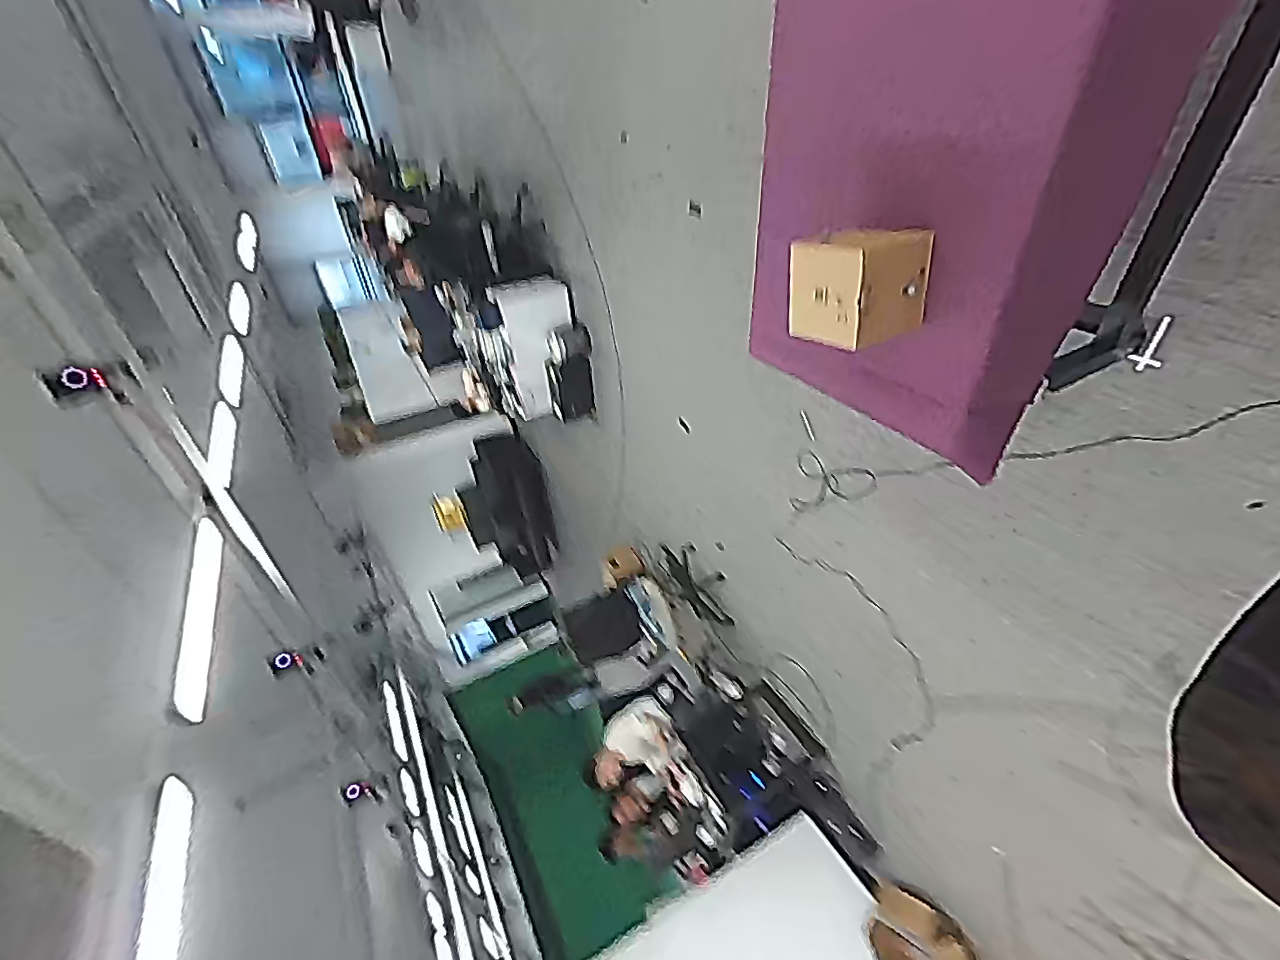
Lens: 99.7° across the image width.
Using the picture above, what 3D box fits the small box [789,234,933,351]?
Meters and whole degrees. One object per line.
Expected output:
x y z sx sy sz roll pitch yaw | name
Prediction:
0.401 -0.354 1.003 0.179 0.176 0.168 39 144 52 | small box
